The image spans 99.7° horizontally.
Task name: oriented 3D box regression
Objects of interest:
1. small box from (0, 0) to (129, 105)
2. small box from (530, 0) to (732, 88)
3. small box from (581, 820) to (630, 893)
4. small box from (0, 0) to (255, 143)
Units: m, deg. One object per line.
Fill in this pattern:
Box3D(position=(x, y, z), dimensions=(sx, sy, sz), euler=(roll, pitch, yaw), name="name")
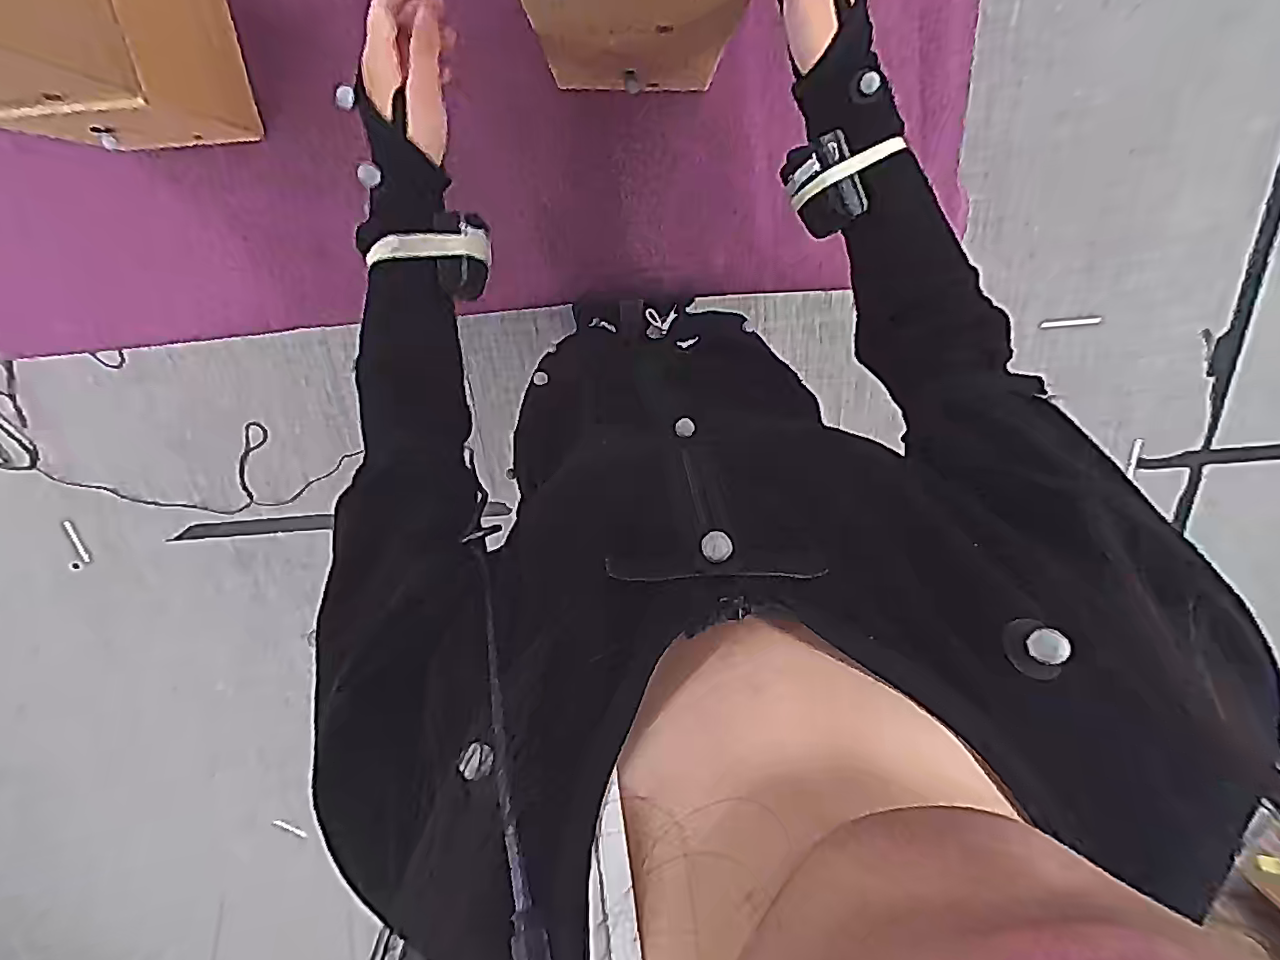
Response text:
Box3D(position=(-0.505, -0.369, 0.347), dimensions=(0.168, 0.176, 0.179), euler=(-5, 112, 1), name="small box")
Box3D(position=(-0.007, -0.482, 0.484), dimensions=(0.168, 0.176, 0.179), euler=(1, 113, 0), name="small box")
Box3D(position=(-0.129, 1.436, 2.072), dimensions=(0.168, 0.176, 0.179), euler=(-5, 113, 3), name="small box")
Box3D(position=(-0.507, -0.427, 0.501), dimensions=(0.168, 0.176, 0.179), euler=(-4, 112, 1), name="small box")
